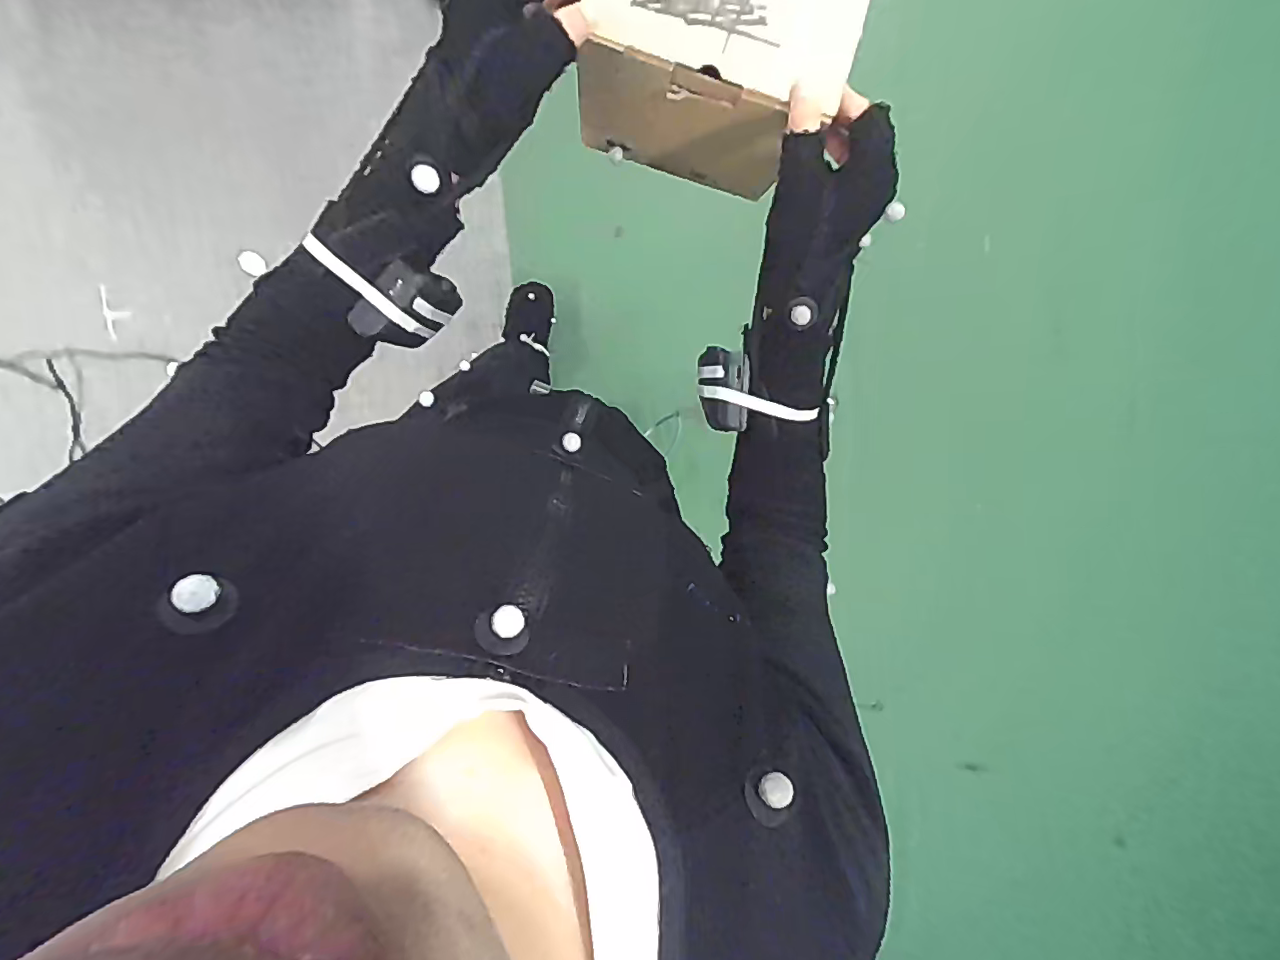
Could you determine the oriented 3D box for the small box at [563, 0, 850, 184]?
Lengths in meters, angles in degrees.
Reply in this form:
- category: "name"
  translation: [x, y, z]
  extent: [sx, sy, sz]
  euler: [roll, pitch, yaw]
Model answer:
- category: "small box"
  translation: [0.048, -0.346, 0.388]
  extent: [0.168, 0.176, 0.179]
  euler: [14, 99, -8]
